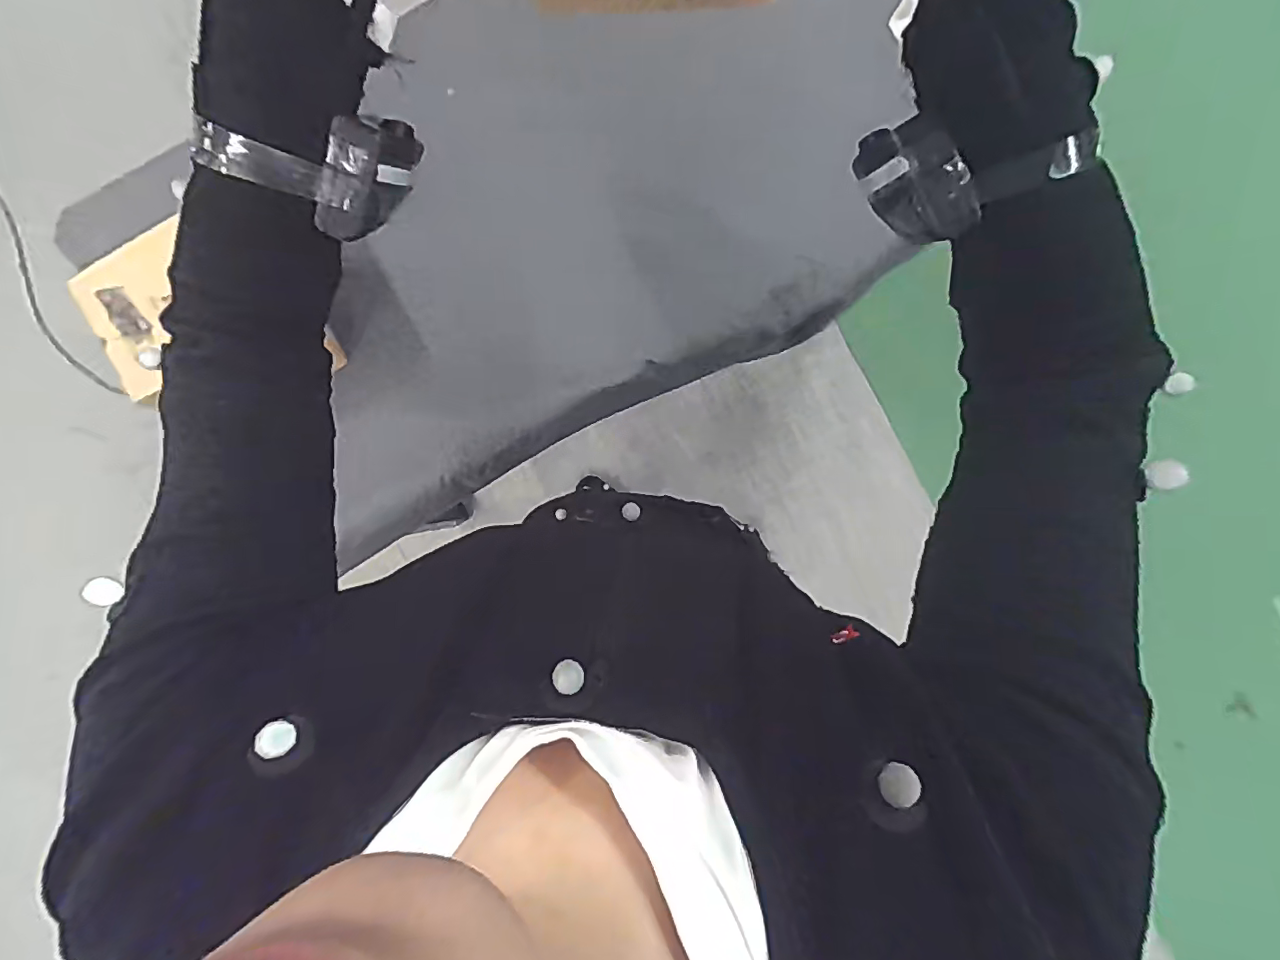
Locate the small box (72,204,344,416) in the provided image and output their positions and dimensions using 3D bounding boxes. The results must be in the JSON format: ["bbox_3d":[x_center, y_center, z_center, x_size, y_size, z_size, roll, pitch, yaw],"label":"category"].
[{"bbox_3d":[-0.527,-0.197,0.686,0.179,0.176,0.168,-31,88,0],"label":"small box"}]
